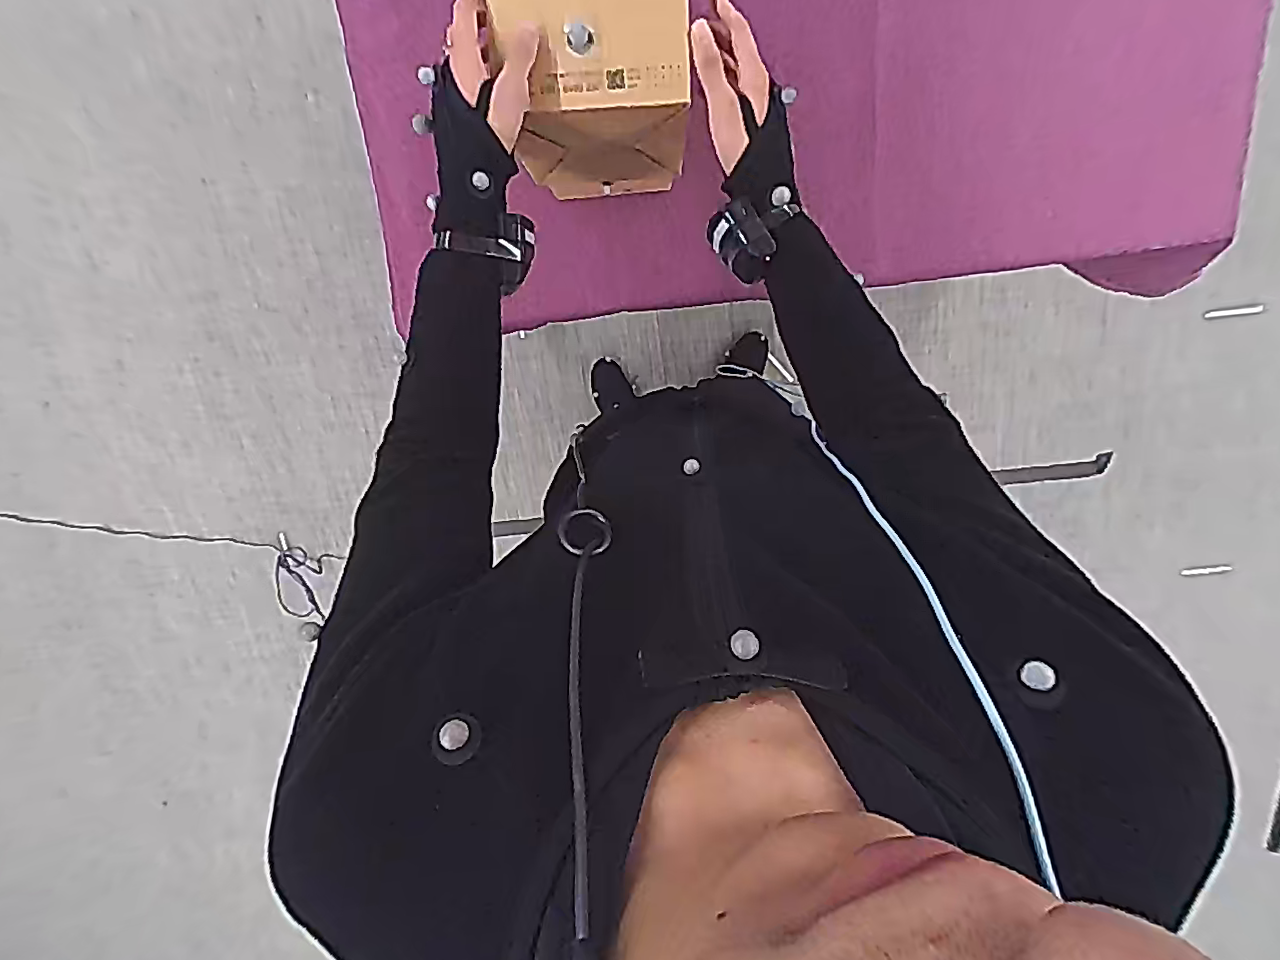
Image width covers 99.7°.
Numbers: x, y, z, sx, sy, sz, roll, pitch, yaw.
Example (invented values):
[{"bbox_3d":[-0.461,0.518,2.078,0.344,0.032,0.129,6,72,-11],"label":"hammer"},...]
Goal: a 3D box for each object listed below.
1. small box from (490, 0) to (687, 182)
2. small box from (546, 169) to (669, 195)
[{"bbox_3d":[-0.043,-0.400,0.514,0.168,0.179,0.176,-2,102,1],"label":"small box"},{"bbox_3d":[-0.047,-0.470,0.678,0.168,0.176,0.179,-4,106,1],"label":"small box"}]
